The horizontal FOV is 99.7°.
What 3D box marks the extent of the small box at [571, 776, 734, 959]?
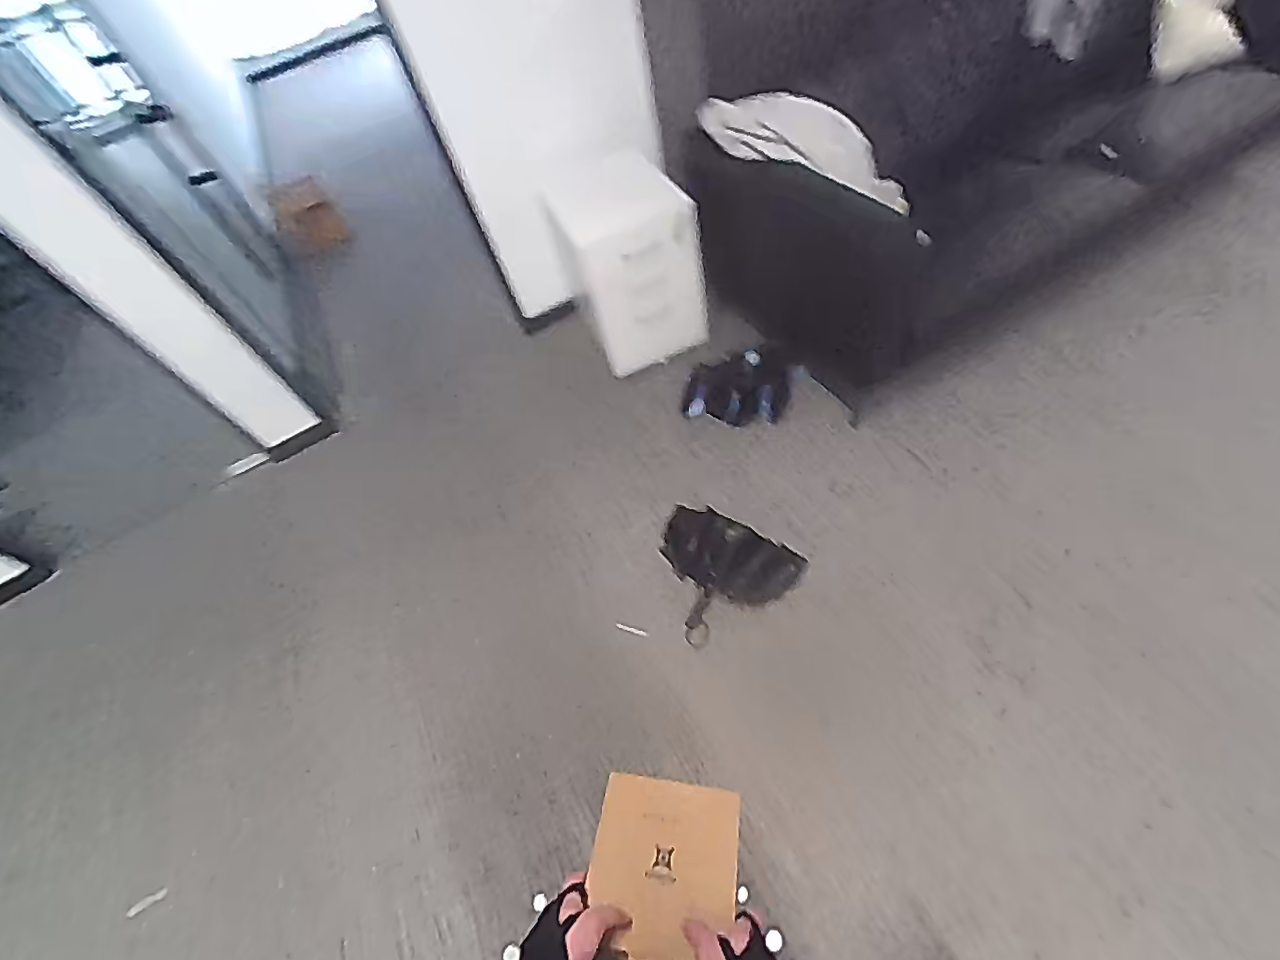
[{"bbox_3d":[0.028,0.495,0.653,0.168,0.176,0.179,2,35,10],"label":"small box"}]
